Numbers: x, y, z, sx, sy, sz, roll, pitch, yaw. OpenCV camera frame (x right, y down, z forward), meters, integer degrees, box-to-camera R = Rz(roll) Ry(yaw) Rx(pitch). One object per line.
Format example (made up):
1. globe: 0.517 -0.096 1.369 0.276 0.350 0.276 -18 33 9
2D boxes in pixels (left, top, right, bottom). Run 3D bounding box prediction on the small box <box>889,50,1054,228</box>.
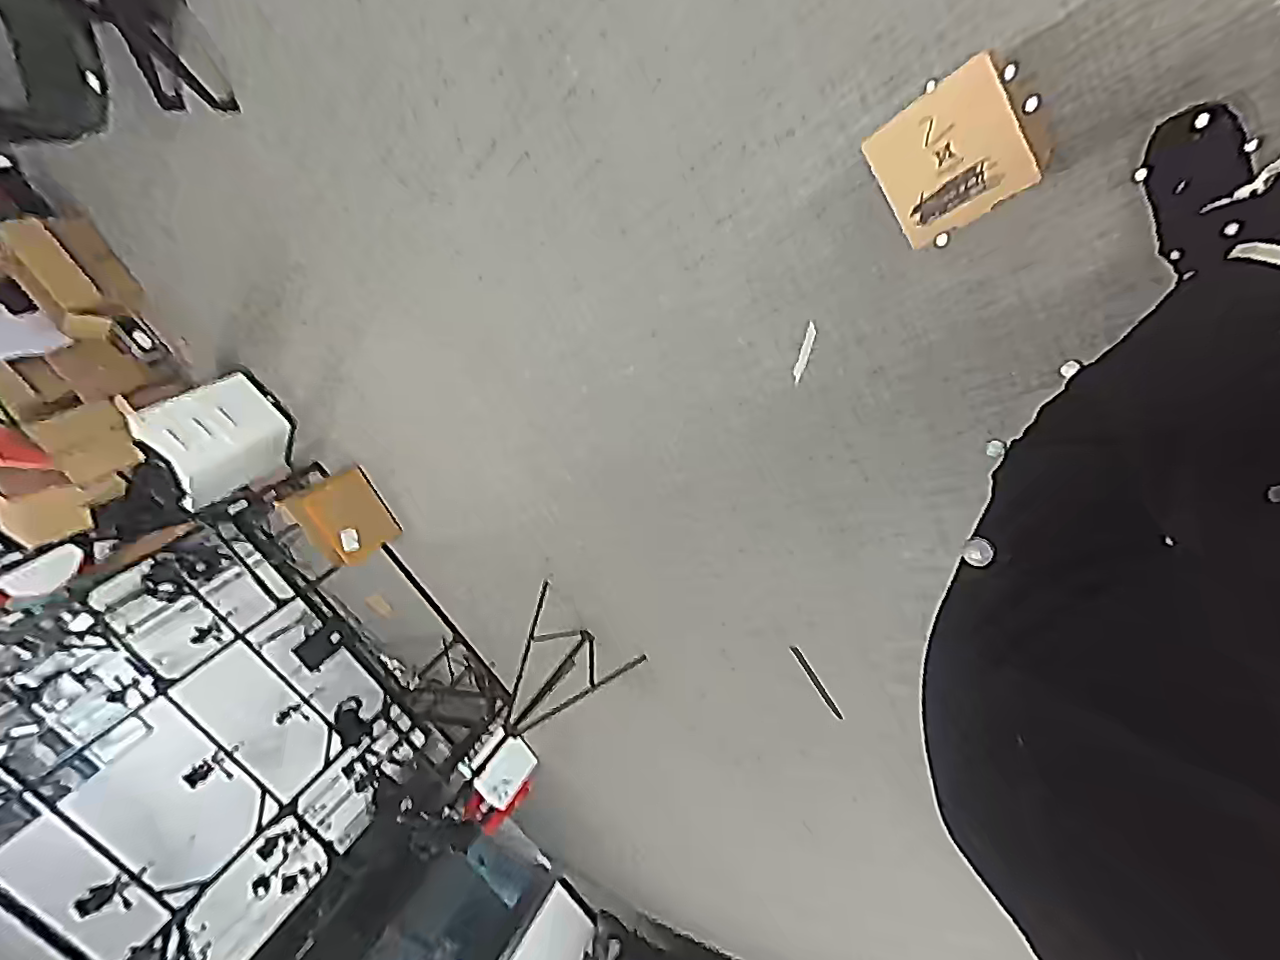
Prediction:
1. small box: 0.542 -0.553 0.884 0.179 0.176 0.168 51 138 -9
